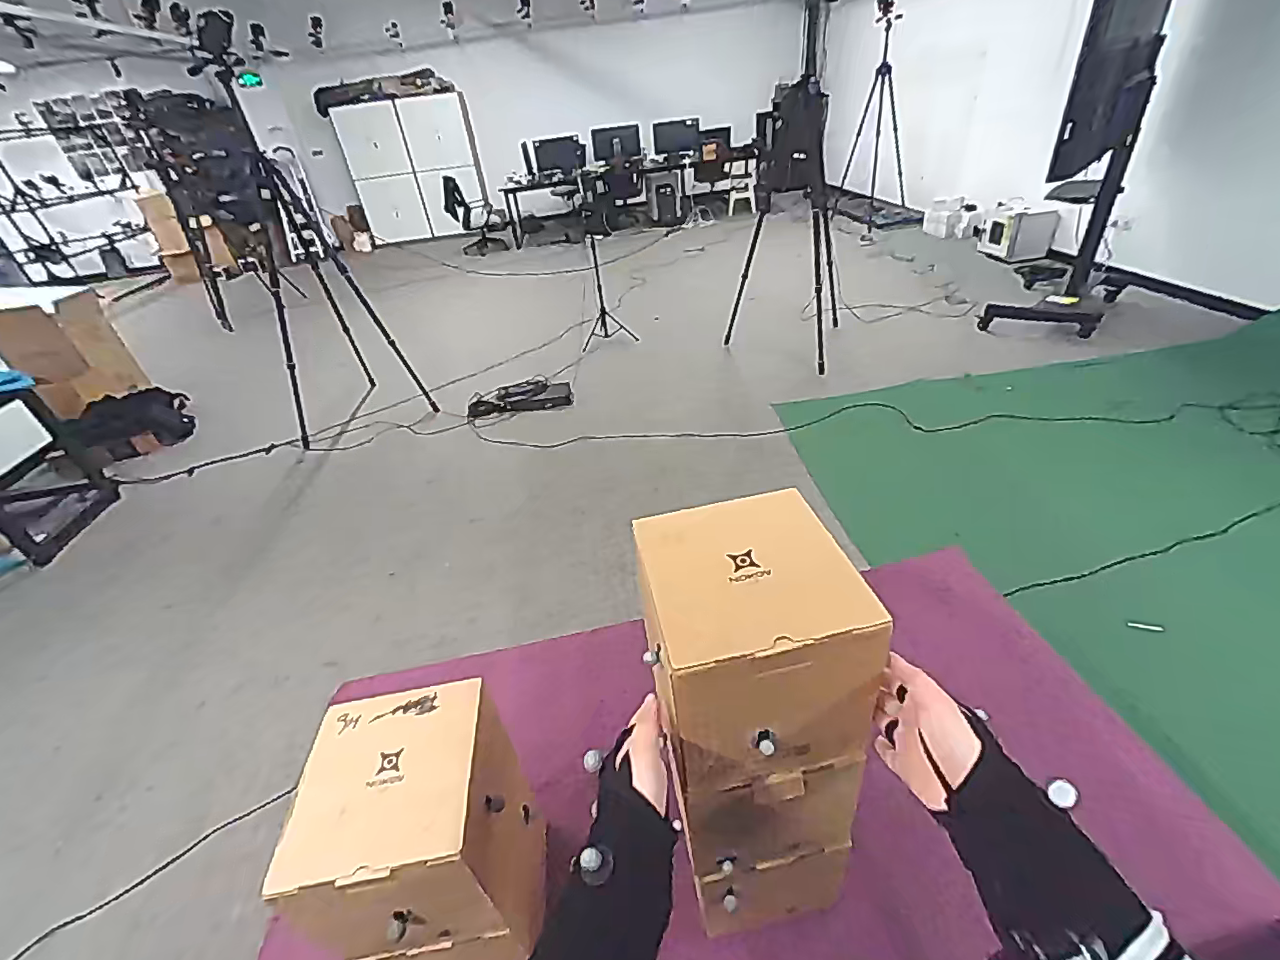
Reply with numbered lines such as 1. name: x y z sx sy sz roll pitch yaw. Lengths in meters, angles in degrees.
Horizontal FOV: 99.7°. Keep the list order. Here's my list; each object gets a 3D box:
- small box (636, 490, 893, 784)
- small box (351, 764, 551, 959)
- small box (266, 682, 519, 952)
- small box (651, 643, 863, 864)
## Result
1. small box: 0.096 0.136 0.495 0.168 0.176 0.179 -12 35 -5
2. small box: -0.205 0.479 0.642 0.168 0.176 0.179 -11 35 -3
3. small box: -0.225 0.343 0.551 0.168 0.176 0.179 -10 35 -3
4. small box: 0.115 0.275 0.578 0.168 0.176 0.179 -11 33 -4
